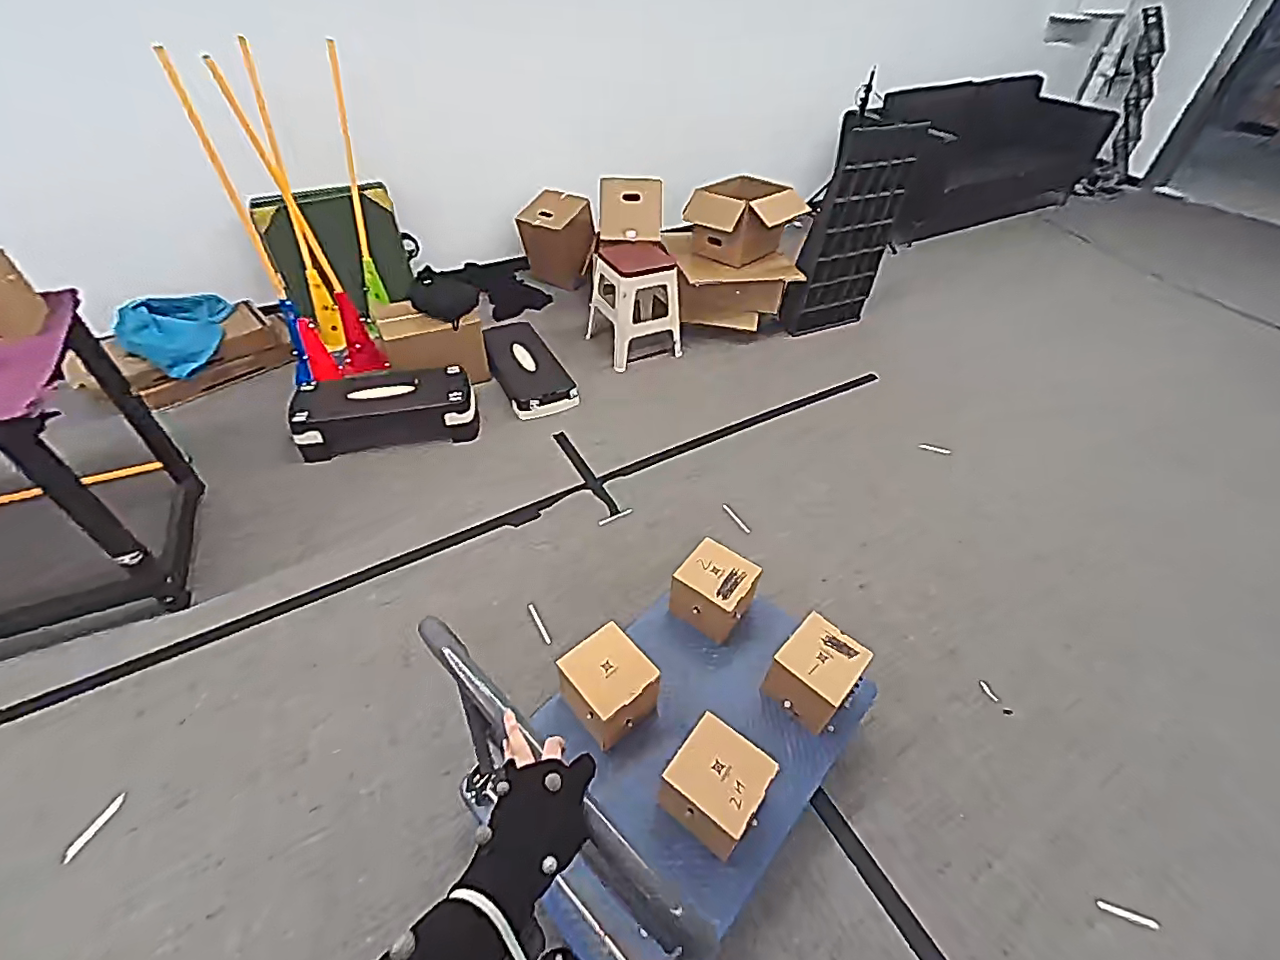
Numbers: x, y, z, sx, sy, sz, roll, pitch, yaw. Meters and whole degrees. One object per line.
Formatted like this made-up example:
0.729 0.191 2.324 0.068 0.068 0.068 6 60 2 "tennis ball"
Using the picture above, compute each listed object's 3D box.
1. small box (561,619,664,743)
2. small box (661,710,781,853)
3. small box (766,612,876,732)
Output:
-0.068 0.467 1.251 0.168 0.176 0.179 -31 55 -30 "small box"
0.158 0.620 1.109 0.179 0.176 0.168 31 51 25 "small box"
0.423 0.457 1.289 0.168 0.176 0.179 36 54 29 "small box"
